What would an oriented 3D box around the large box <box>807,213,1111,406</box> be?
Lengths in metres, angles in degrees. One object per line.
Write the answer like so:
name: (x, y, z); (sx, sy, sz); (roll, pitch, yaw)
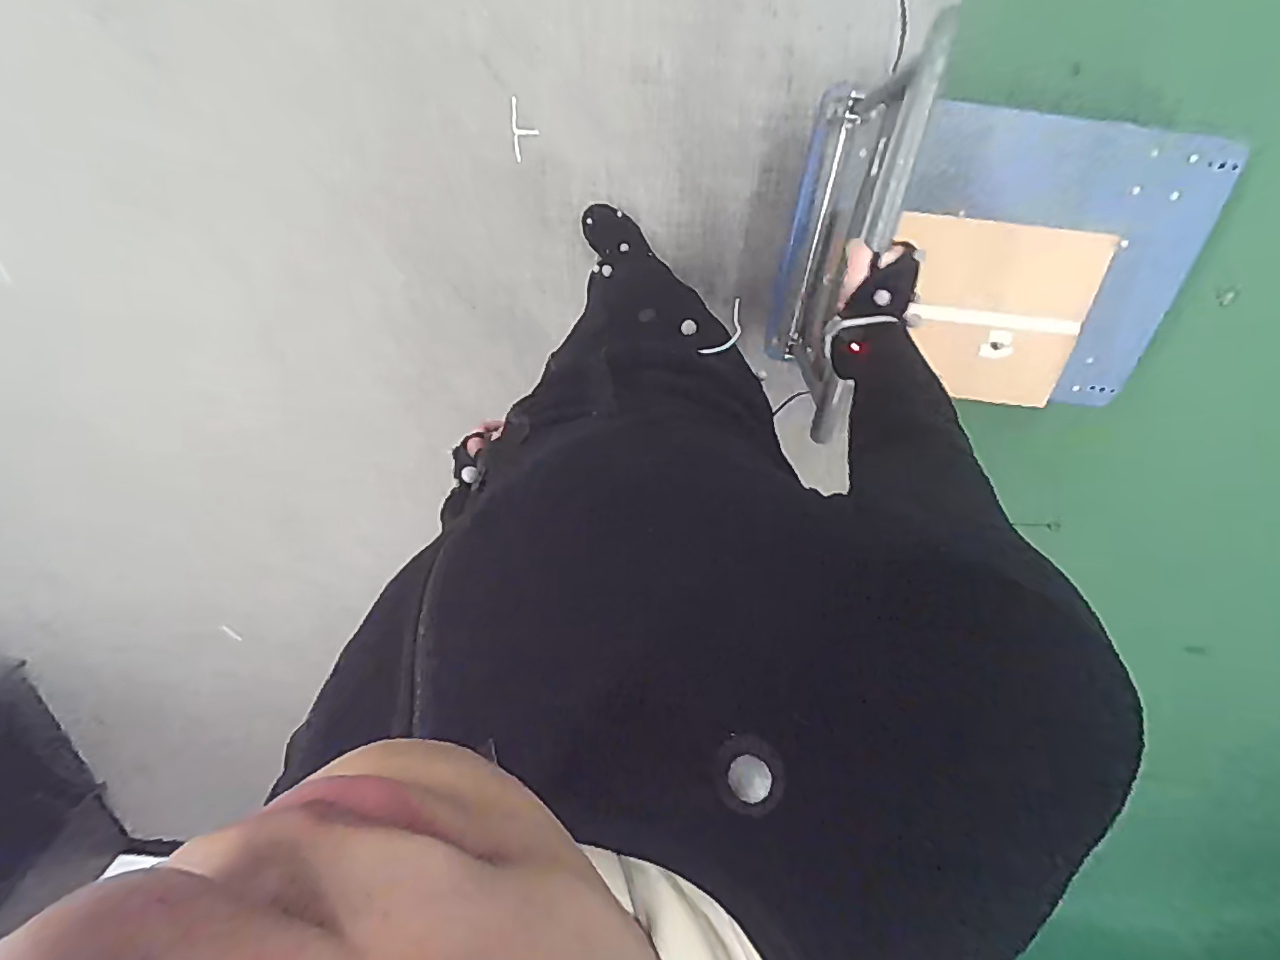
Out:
large box: (0.608, -0.367, 1.130); (0.408, 0.320, 0.320); (7, 117, 0)
